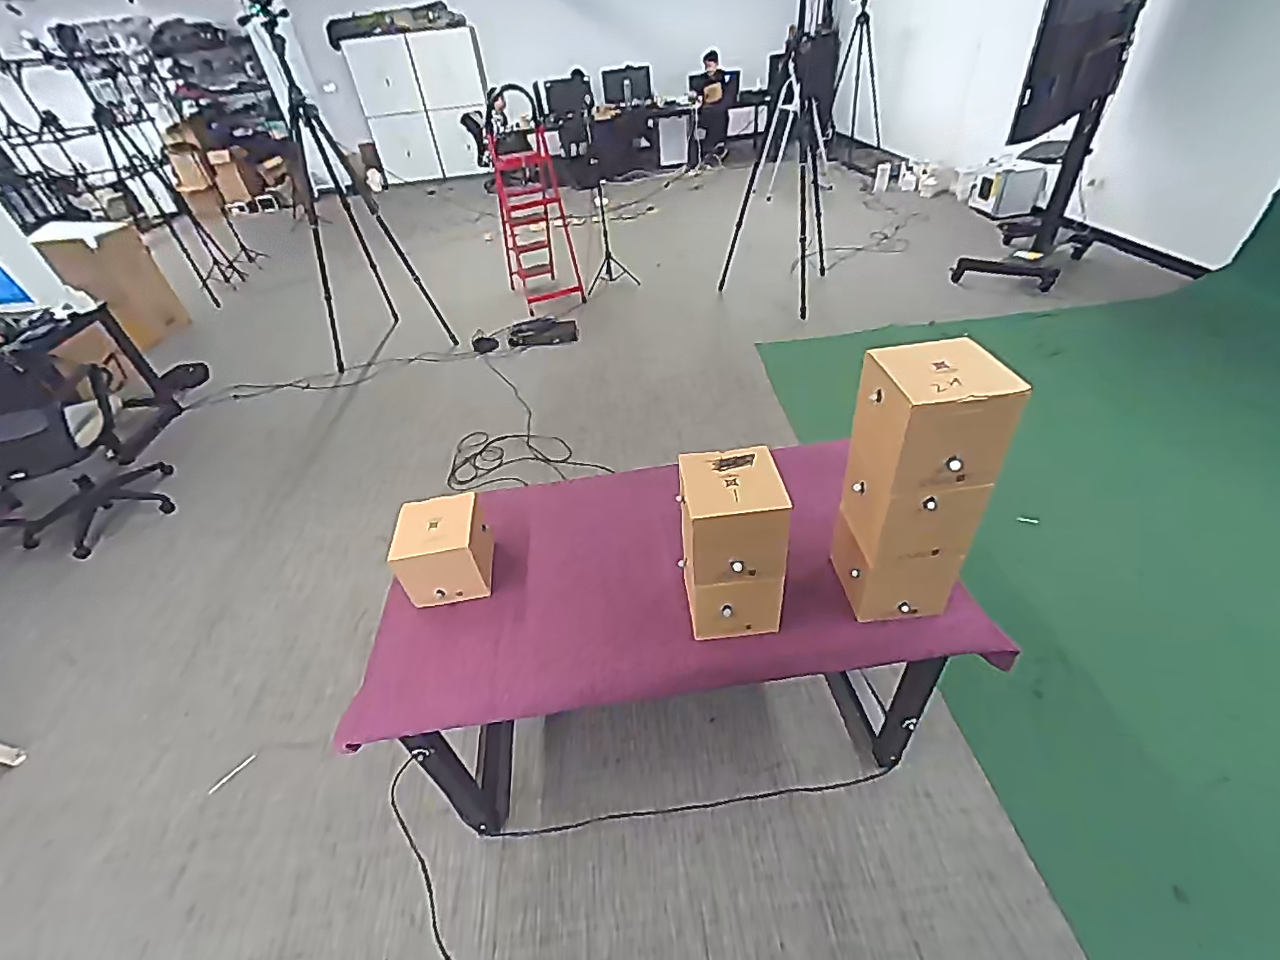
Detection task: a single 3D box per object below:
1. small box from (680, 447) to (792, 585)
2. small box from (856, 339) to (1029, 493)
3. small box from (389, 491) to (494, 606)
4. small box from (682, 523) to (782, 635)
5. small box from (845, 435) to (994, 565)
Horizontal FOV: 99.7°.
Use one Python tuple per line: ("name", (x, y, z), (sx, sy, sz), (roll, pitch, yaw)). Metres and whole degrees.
("small box", (0.163, 0.063, 0.970), (0.168, 0.176, 0.179), (-7, 39, 2))
("small box", (0.460, -0.102, 0.860), (0.168, 0.176, 0.179), (-7, 40, 2))
("small box", (-0.430, 0.153, 1.205), (0.168, 0.176, 0.179), (-10, 41, -3))
("small box", (0.178, 0.191, 1.072), (0.168, 0.176, 0.179), (-7, 38, 1))
("small box", (0.478, 0.026, 0.961), (0.168, 0.176, 0.179), (-7, 39, 3))
